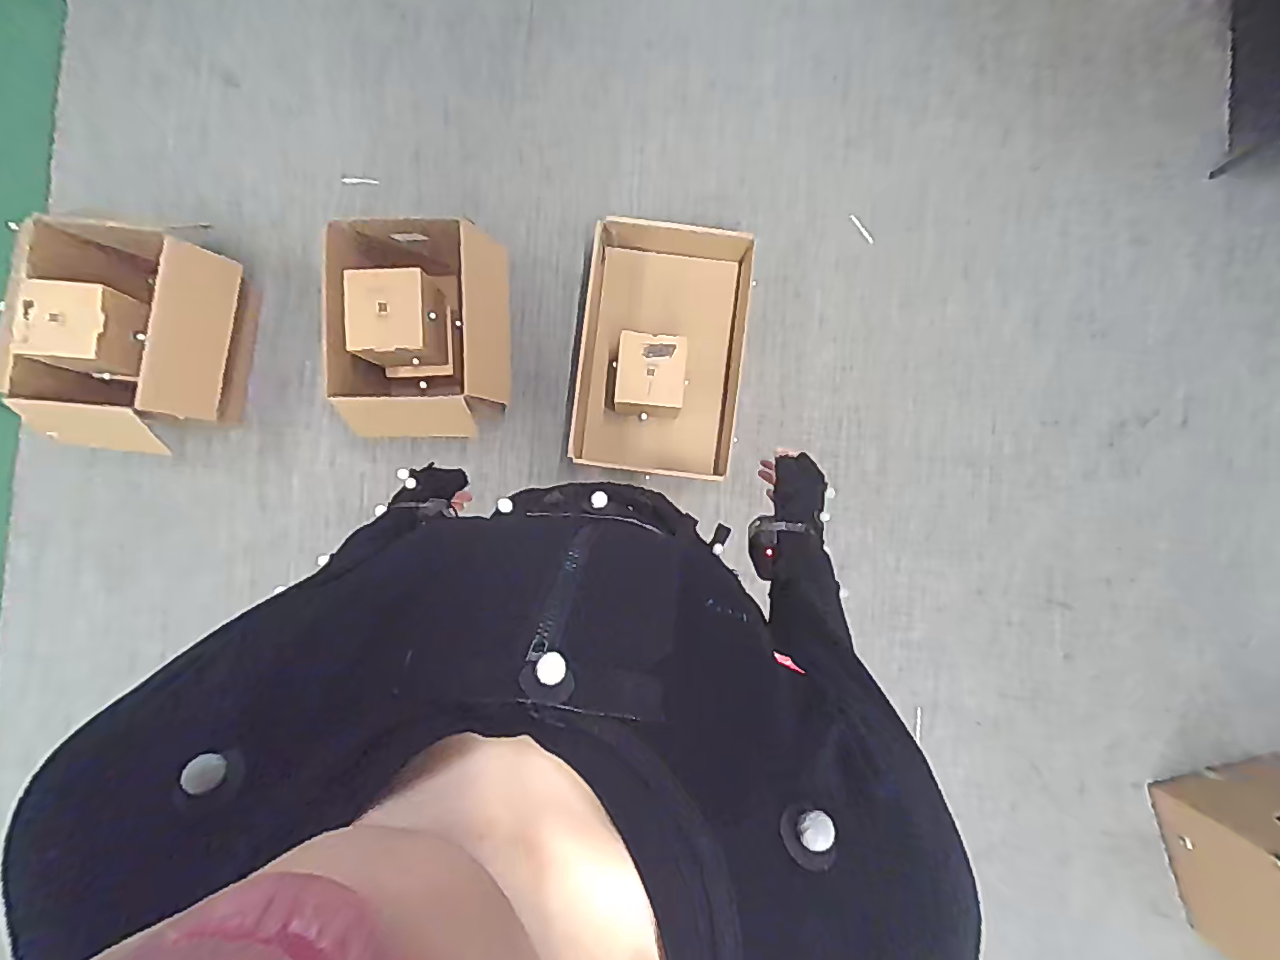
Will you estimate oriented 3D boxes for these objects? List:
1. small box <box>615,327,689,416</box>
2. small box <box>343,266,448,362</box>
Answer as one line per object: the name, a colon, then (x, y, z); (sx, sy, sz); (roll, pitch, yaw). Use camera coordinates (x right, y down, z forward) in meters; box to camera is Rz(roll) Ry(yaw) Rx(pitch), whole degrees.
small box: (0.027, -0.267, 1.360); (0.168, 0.176, 0.179); (5, 88, 0)
small box: (-0.547, -0.367, 1.228); (0.168, 0.176, 0.179); (-2, 90, -1)
